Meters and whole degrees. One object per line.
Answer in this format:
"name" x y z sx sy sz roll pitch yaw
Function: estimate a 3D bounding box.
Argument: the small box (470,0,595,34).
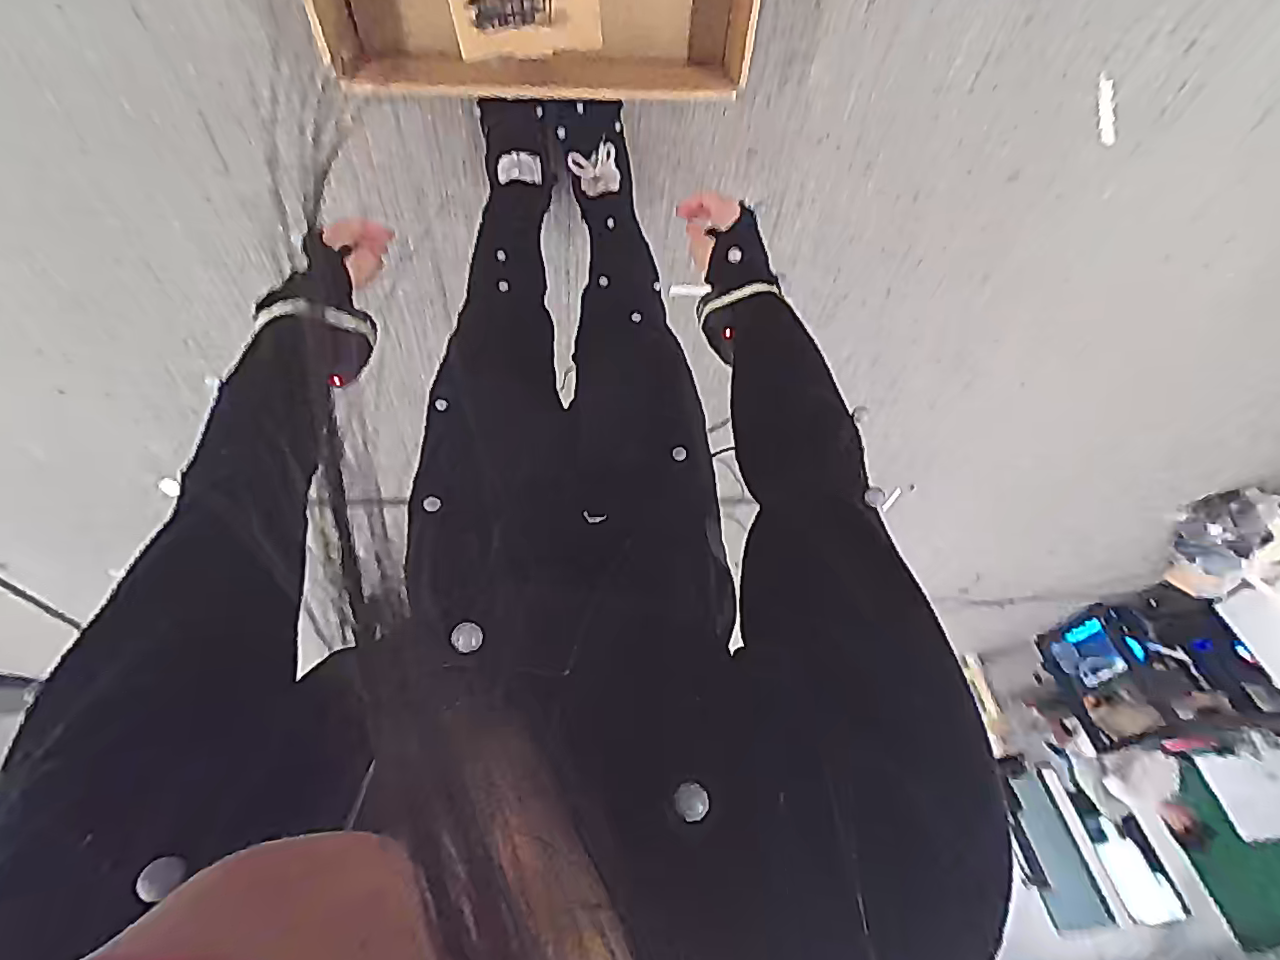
"small box" -0.154 -0.737 0.730 0.168 0.176 0.179 -6 142 -1

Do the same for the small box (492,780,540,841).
"small box" -0.459 1.227 2.010 0.168 0.176 0.179 0 142 -11
